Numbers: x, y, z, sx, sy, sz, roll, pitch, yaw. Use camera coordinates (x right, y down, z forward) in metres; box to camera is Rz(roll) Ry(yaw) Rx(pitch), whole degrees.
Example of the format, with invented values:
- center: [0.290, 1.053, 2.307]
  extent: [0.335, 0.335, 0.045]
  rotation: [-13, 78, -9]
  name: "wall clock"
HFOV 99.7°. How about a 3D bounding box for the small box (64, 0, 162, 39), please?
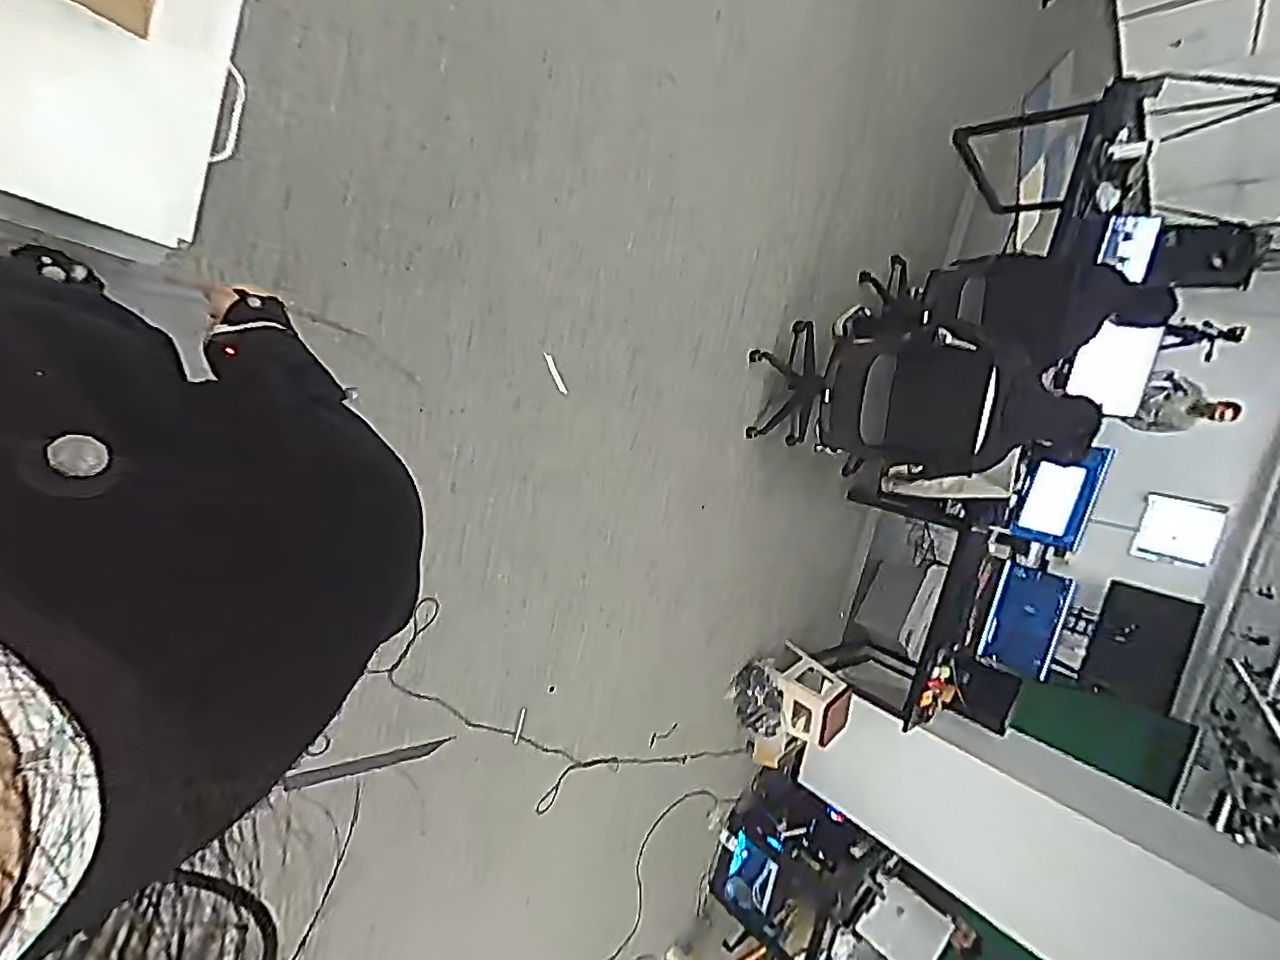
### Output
- center: [-0.535, -0.566, 0.494]
  extent: [0.168, 0.176, 0.179]
  rotation: [11, 98, -44]
  name: "small box"
